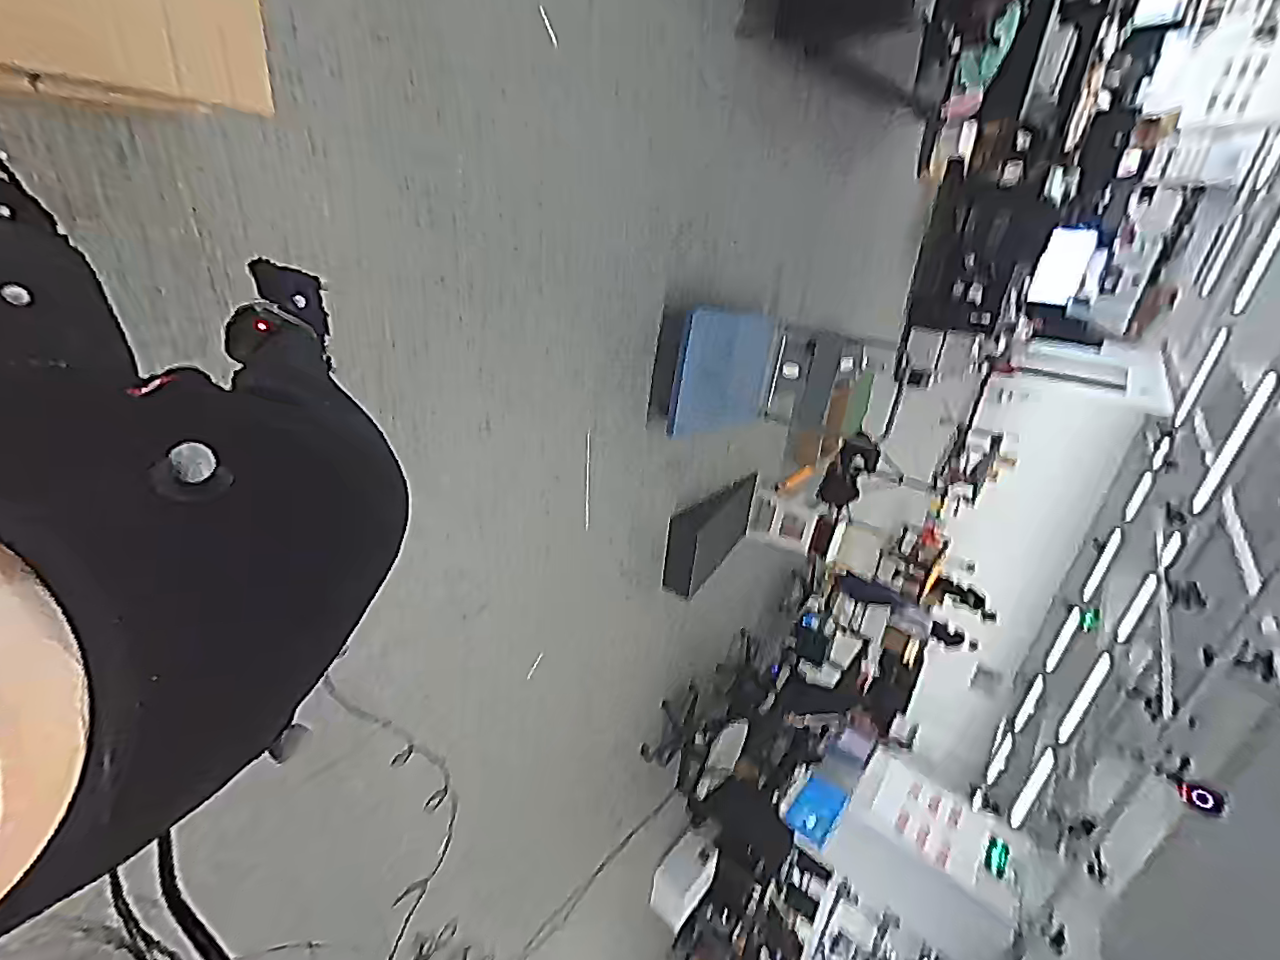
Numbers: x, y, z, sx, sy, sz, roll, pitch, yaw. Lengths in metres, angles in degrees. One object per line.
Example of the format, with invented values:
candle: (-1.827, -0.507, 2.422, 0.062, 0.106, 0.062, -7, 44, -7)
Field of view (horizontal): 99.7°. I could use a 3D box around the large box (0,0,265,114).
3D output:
large box: (-0.700, -0.616, 0.570, 0.408, 0.320, 0.320, -21, 130, -46)
